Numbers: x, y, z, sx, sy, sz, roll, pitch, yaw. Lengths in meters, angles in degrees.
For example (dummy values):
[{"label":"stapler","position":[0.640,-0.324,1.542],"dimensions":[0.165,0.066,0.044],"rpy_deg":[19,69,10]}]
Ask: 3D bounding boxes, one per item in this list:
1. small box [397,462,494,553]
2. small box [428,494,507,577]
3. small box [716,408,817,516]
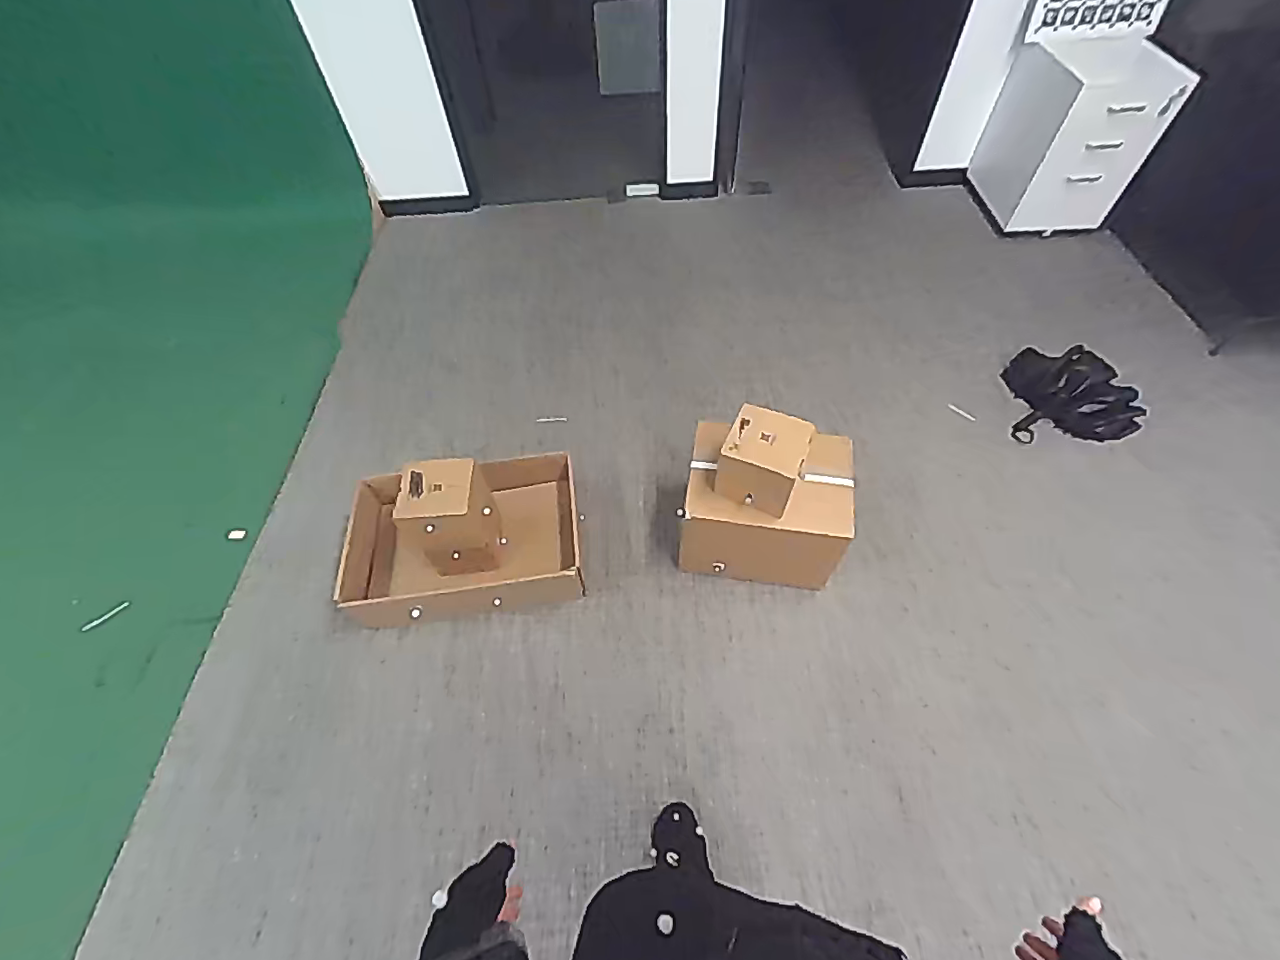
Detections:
[{"label":"small box","position":[-0.482,0.074,1.369],"dimensions":[0.179,0.176,0.168],"rpy_deg":[-4,55,-2]},{"label":"small box","position":[-0.479,0.159,1.511],"dimensions":[0.179,0.176,0.168],"rpy_deg":[-6,55,-3]},{"label":"small box","position":[0.294,-0.036,1.286],"dimensions":[0.179,0.176,0.168],"rpy_deg":[21,59,15]}]
